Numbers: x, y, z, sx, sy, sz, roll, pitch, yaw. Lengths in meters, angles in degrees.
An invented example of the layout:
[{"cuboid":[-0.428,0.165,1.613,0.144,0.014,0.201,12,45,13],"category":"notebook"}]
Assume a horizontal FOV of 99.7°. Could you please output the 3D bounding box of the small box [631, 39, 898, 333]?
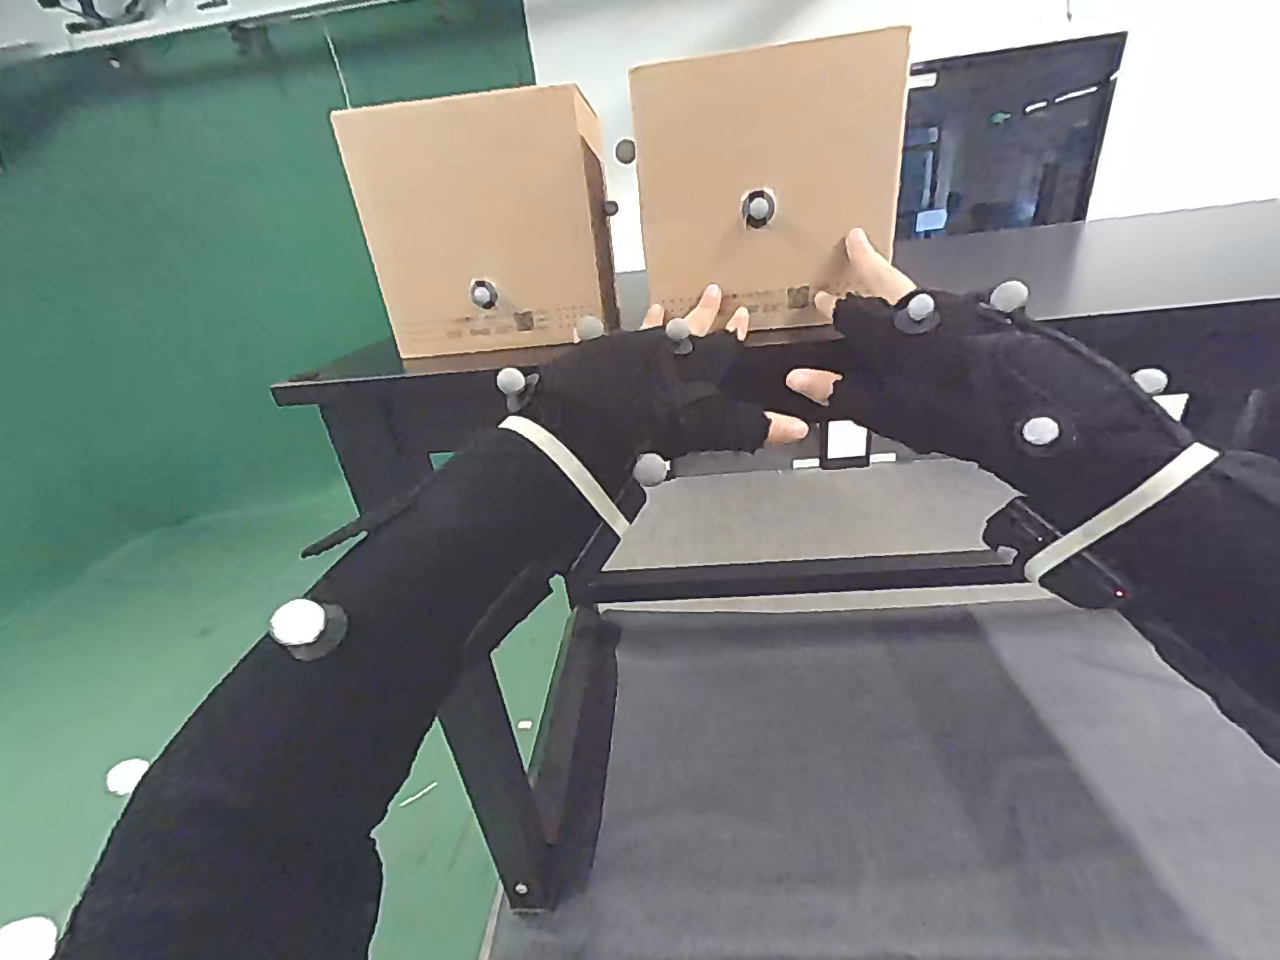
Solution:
[{"cuboid":[0.091,-0.217,0.438,0.168,0.176,0.179,-2,26,7],"category":"small box"}]
